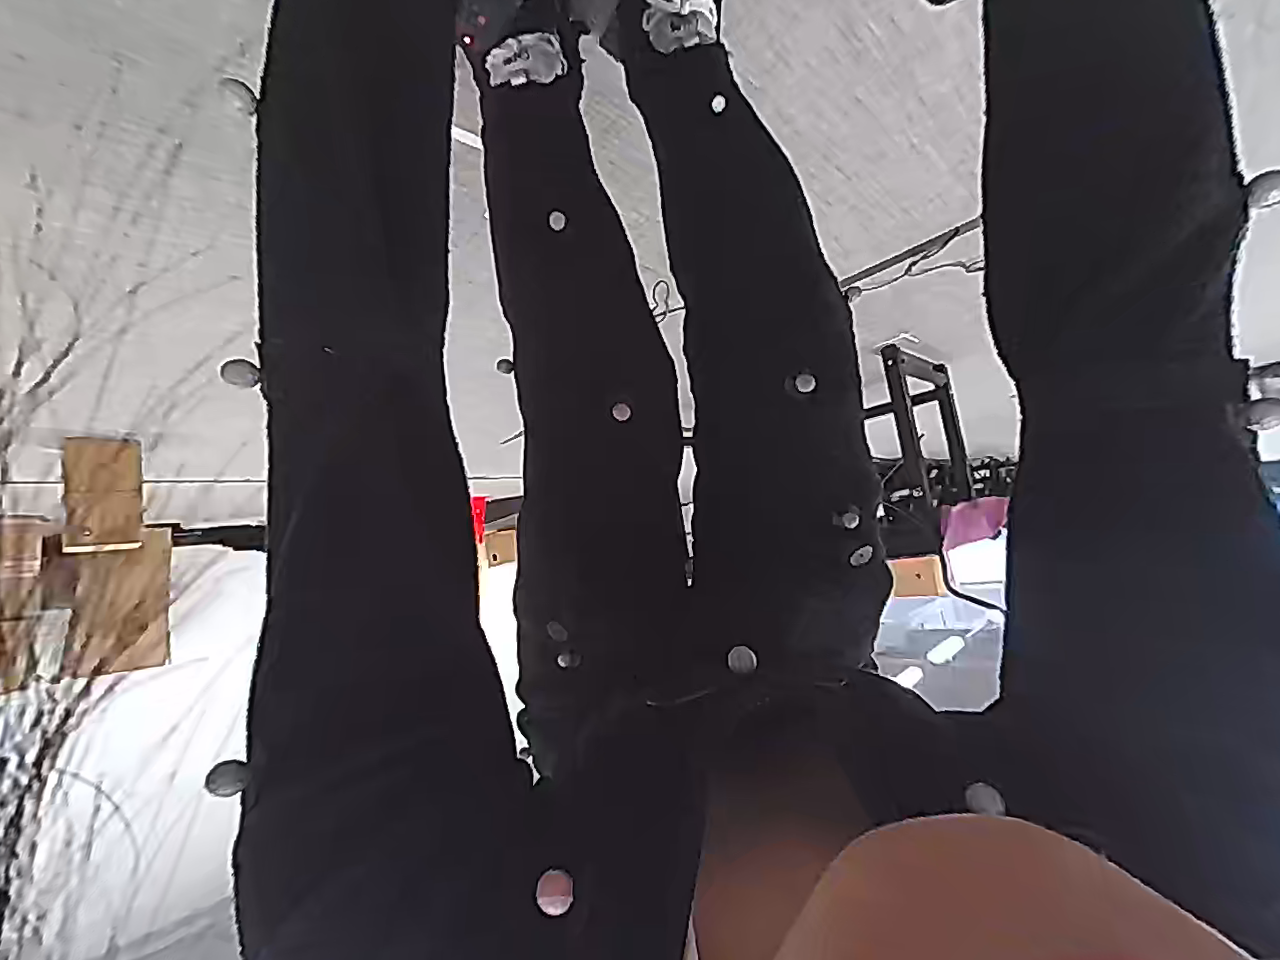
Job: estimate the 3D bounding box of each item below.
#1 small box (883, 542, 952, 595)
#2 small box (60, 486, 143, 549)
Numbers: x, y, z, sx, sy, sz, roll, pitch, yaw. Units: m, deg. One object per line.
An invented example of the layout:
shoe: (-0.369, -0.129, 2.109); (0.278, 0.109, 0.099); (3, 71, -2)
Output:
small box: (1.050, 0.334, 2.052); (0.179, 0.176, 0.168); (-3, 171, -41)
small box: (-1.699, 0.117, 1.705); (0.168, 0.176, 0.179); (-14, 172, 41)
